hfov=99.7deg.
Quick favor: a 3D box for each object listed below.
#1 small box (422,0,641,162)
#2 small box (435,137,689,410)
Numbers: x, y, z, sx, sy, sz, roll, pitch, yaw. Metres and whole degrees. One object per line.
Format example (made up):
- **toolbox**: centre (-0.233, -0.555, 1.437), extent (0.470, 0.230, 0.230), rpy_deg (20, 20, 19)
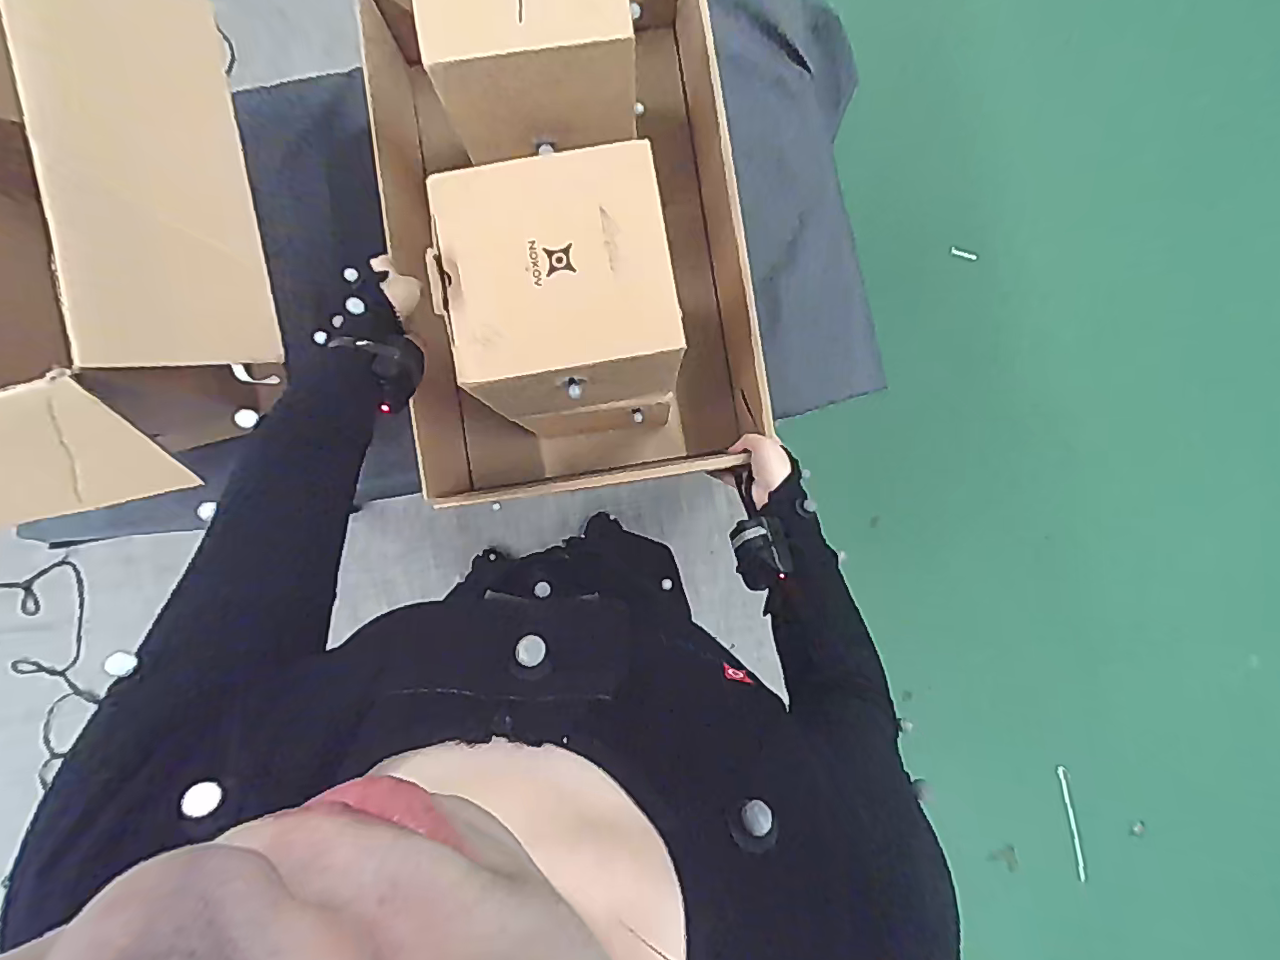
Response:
- **small box**: centre (-0.091, -0.415, 0.491), extent (0.168, 0.176, 0.179), rpy_deg (-7, 92, 0)
- **small box**: centre (-0.059, -0.166, 0.490), extent (0.179, 0.176, 0.168), rpy_deg (-10, 89, 0)
